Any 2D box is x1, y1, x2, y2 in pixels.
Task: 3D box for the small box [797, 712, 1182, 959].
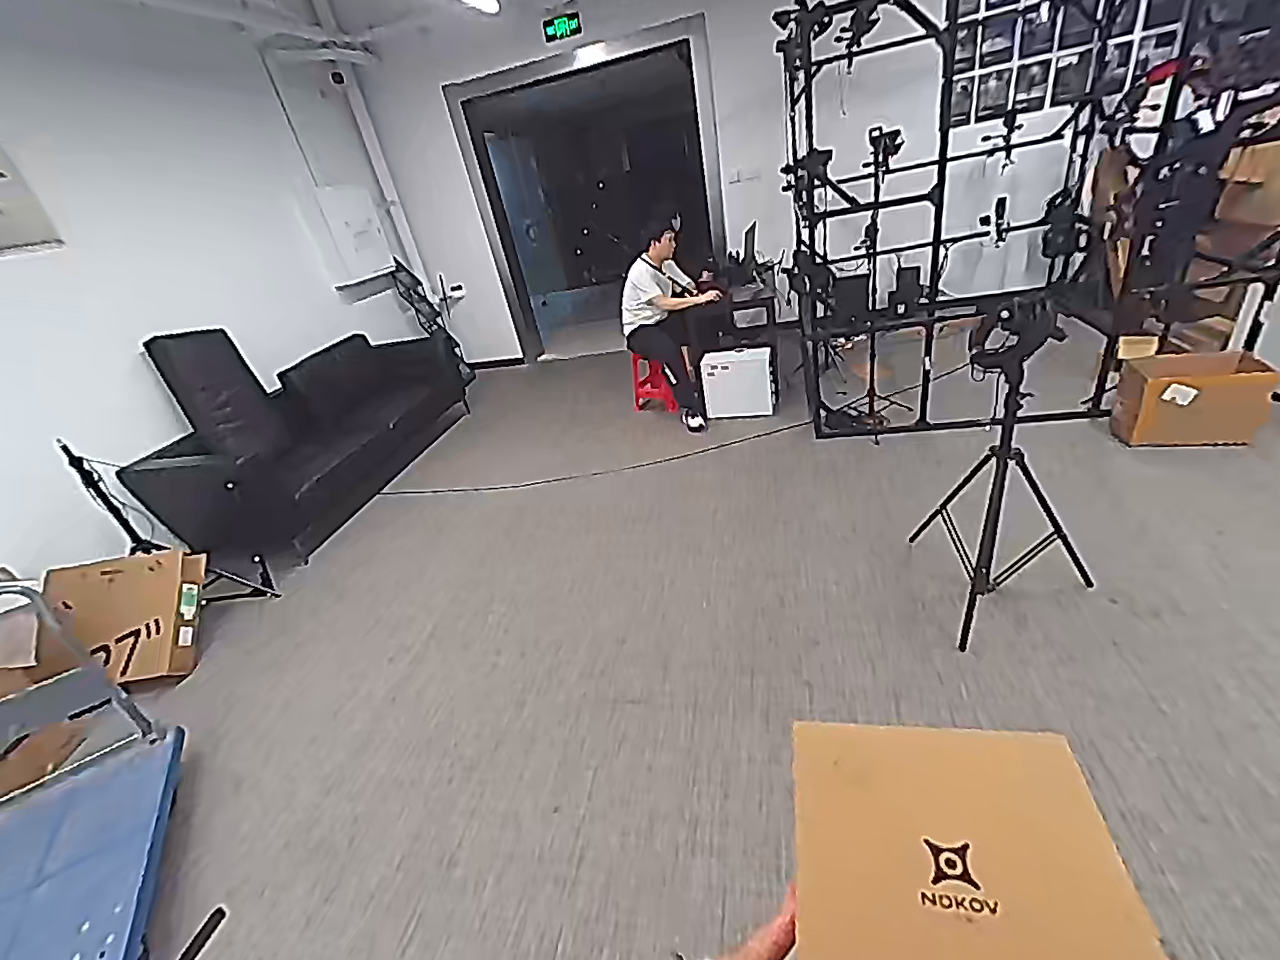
[{"bbox_3d":[0.186,0.271,0.327,0.168,0.176,0.179,-5,31,17],"label":"small box"}]
